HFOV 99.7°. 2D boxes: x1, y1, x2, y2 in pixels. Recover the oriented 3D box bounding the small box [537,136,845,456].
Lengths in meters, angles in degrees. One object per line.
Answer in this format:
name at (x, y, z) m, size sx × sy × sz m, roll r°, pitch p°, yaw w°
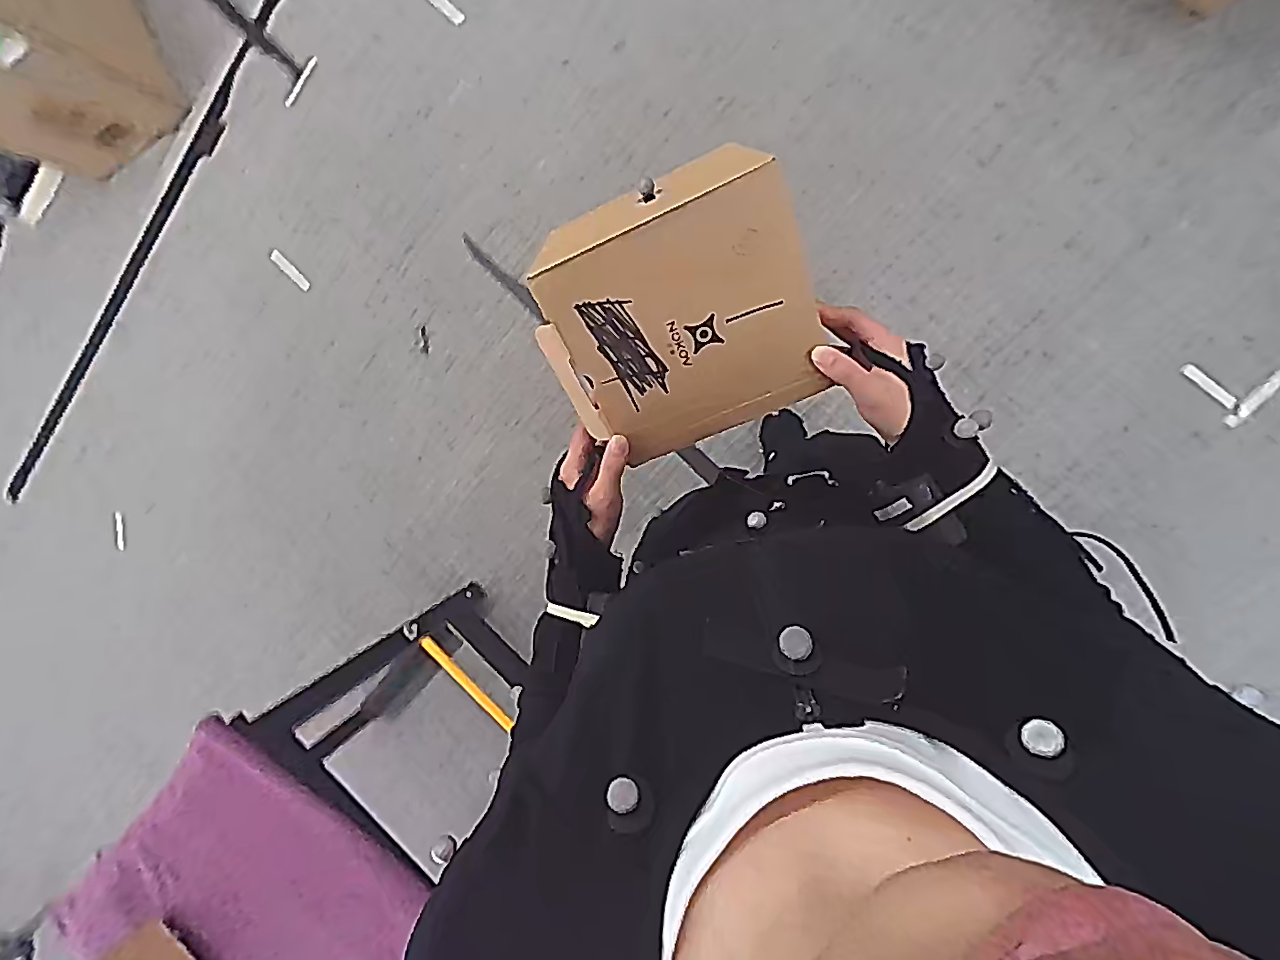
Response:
small box at (0.040, -0.152, 0.439) m, size 0.179 × 0.176 × 0.168 m, roll -21°, pitch 123°, yaw 11°
